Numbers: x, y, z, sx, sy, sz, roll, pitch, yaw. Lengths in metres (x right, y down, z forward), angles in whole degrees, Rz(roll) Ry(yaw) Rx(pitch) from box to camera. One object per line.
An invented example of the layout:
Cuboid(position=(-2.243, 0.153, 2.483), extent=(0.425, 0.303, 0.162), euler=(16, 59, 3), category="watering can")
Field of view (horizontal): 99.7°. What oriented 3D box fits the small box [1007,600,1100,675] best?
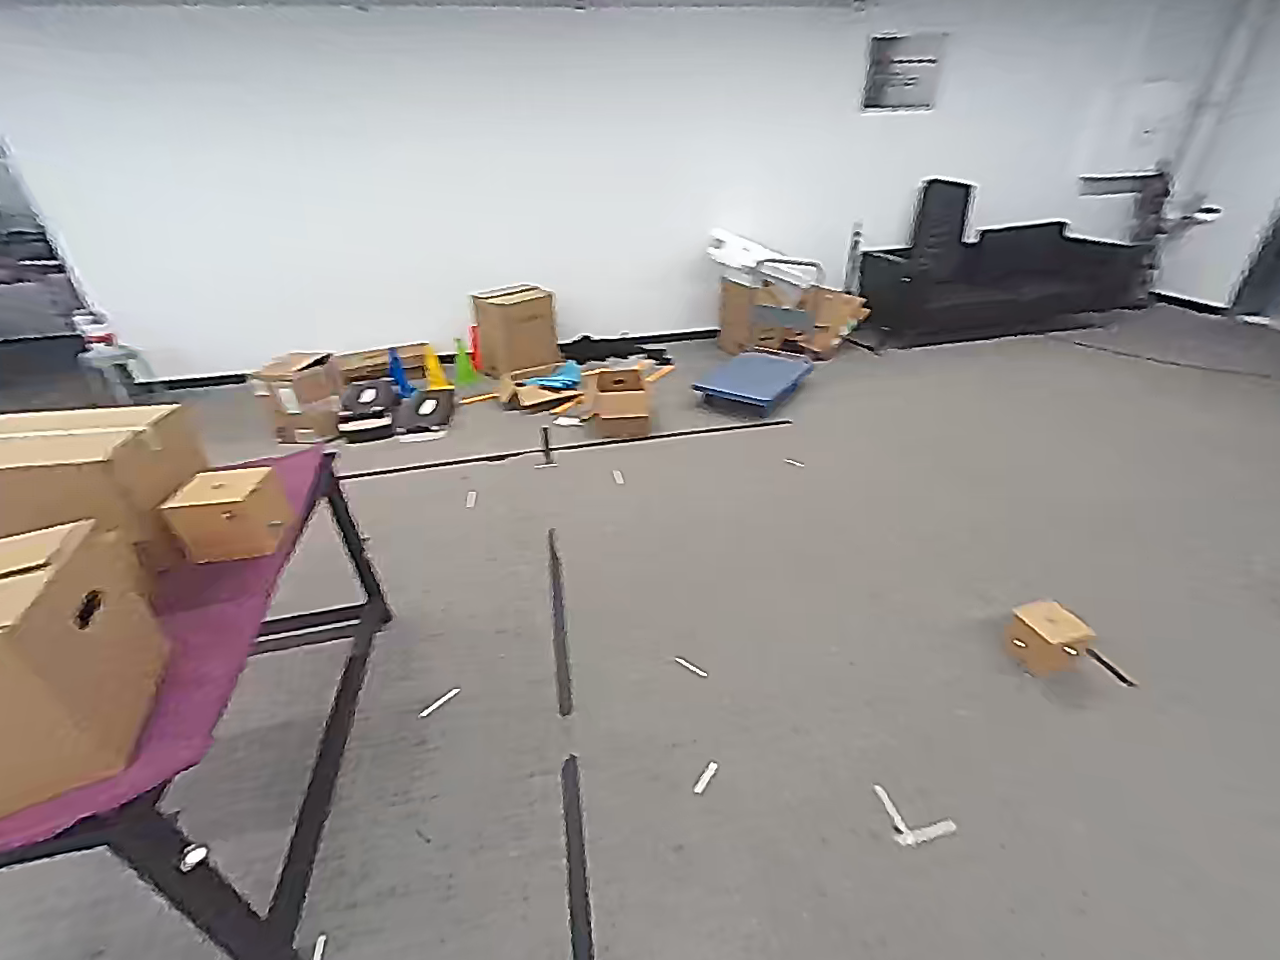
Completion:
Cuboid(position=(1.398, 0.541, 1.846), extent=(0.179, 0.176, 0.168), euler=(-8, 32, -10), category="small box")
